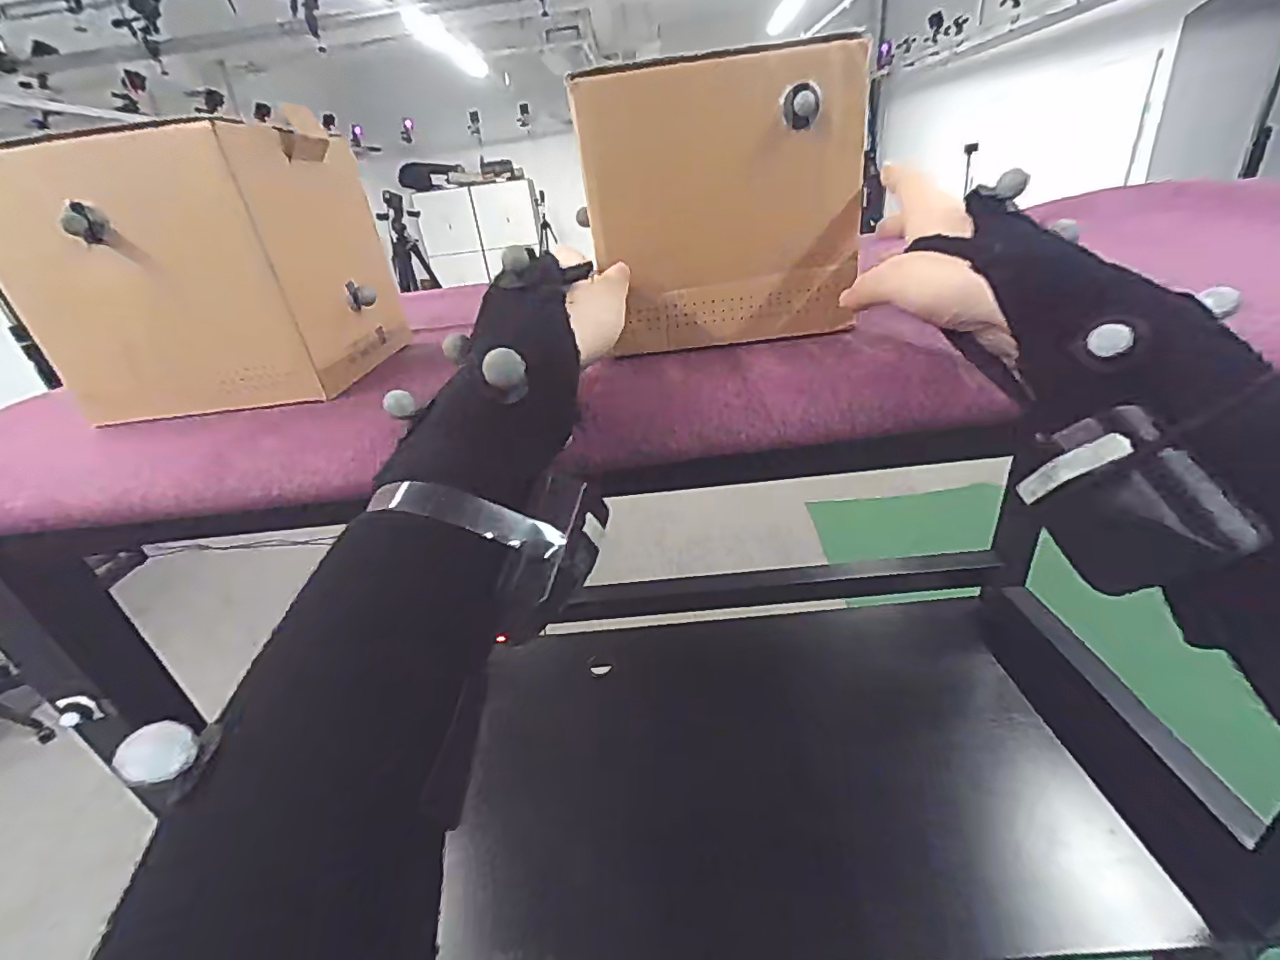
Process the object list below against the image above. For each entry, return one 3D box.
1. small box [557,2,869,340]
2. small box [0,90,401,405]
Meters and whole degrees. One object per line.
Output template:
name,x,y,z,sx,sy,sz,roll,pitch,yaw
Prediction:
small box,0.049,-0.207,0.400,0.179,0.176,0.168,-6,27,2
small box,-0.311,-0.163,0.398,0.179,0.176,0.168,-6,30,2
